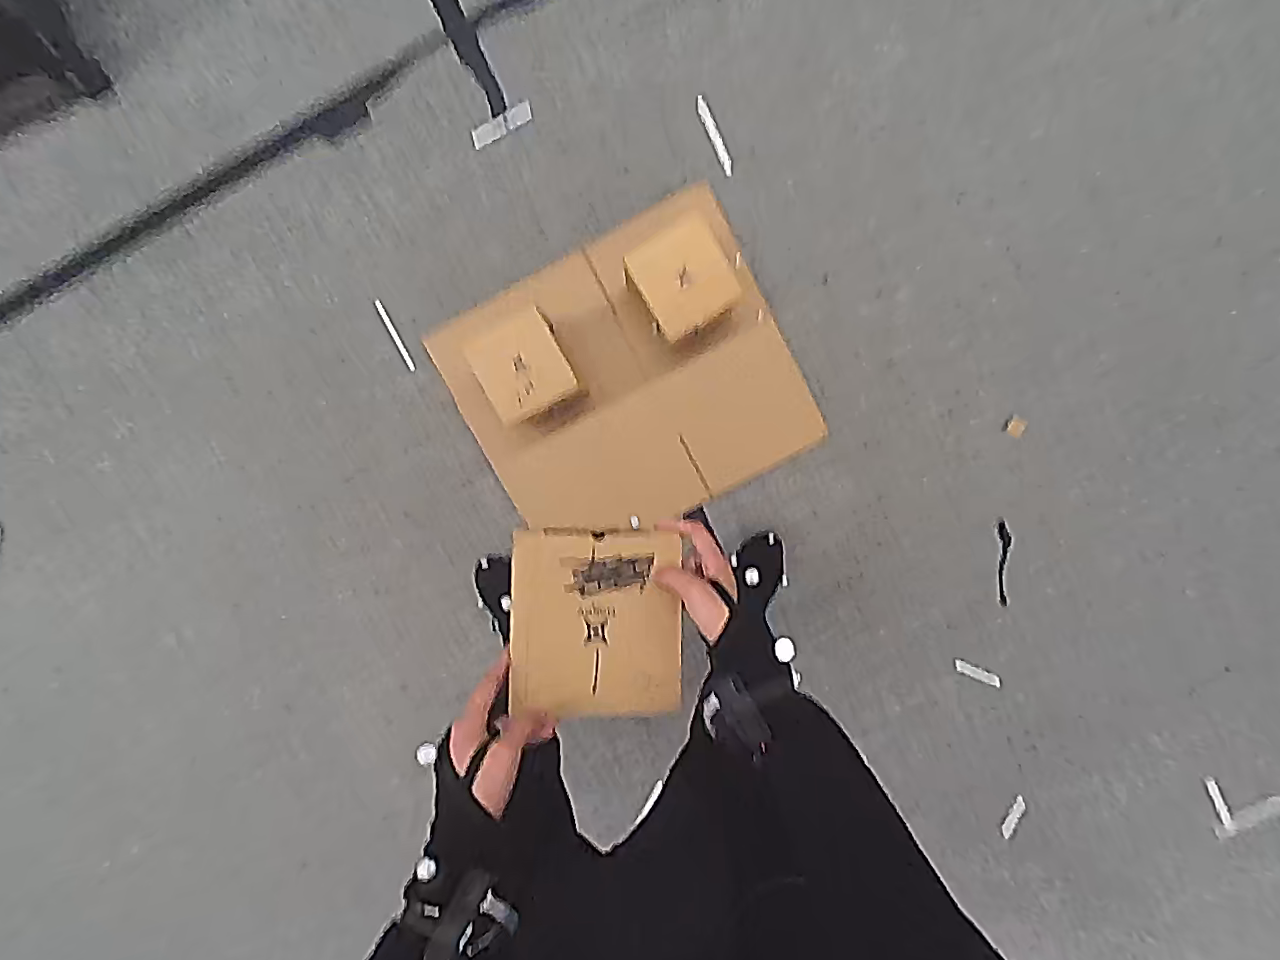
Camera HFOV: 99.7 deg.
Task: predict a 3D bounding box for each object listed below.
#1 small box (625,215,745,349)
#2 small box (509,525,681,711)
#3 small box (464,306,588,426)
[{"bbox_3d":[0.084,-0.382,1.078,0.168,0.176,0.179,-32,96,5],"label":"small box"},{"bbox_3d":[-0.051,0.140,0.603,0.168,0.176,0.179,1,86,-6],"label":"small box"},{"bbox_3d":[-0.221,-0.223,1.096,0.168,0.176,0.179,-28,97,5],"label":"small box"}]
